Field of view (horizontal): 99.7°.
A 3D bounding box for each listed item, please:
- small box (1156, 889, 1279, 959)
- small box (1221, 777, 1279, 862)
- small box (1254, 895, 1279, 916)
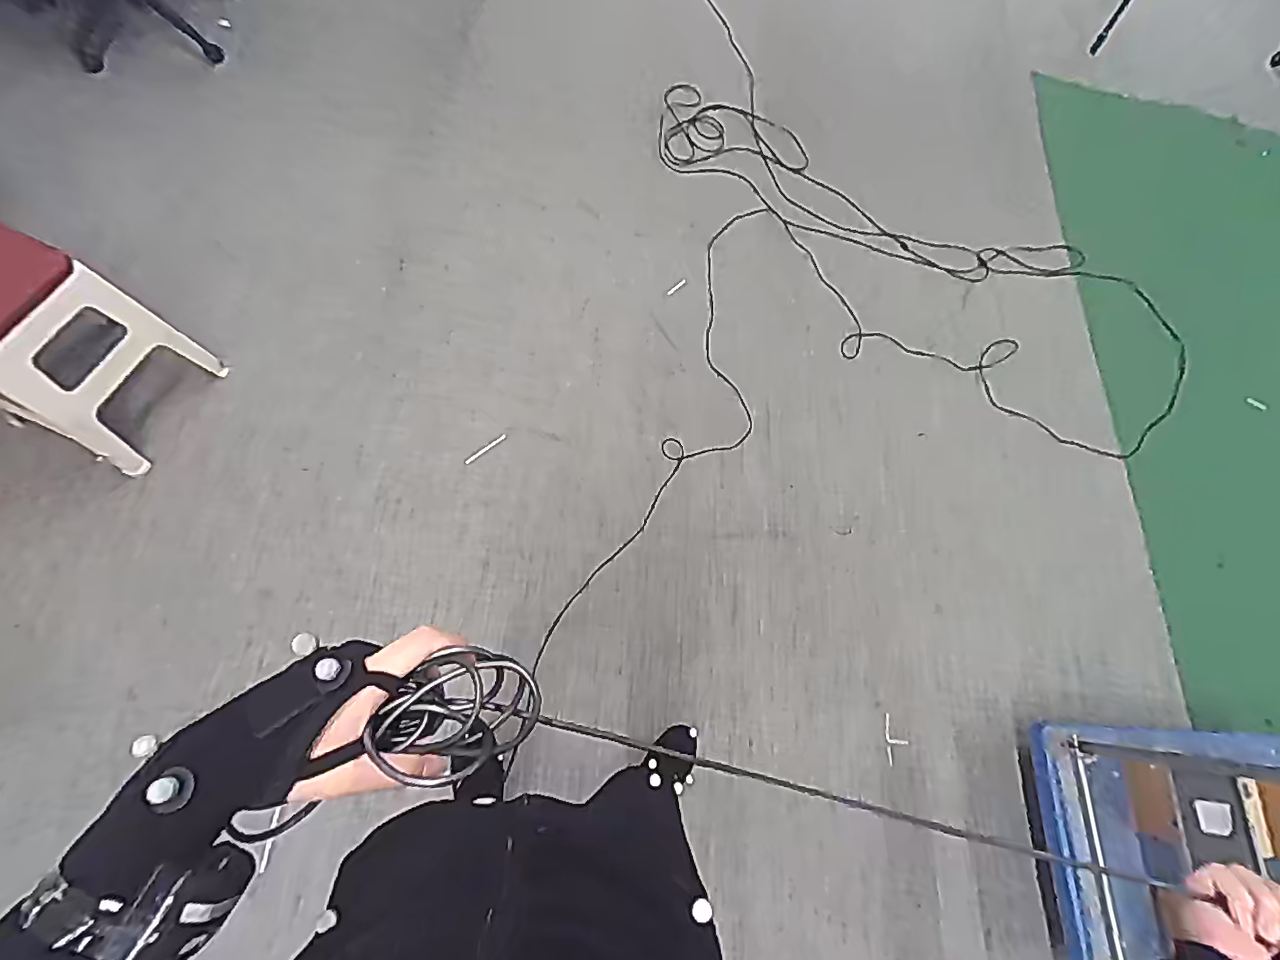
[{"bbox_3d":[1.312,1.033,1.193,0.179,0.176,0.168,7,69,-5],"label":"small box"},{"bbox_3d":[1.578,0.827,1.307,0.179,0.176,0.168,3,70,-7],"label":"small box"},{"bbox_3d":[1.579,1.063,1.220,0.179,0.176,0.168,3,69,-6],"label":"small box"}]
